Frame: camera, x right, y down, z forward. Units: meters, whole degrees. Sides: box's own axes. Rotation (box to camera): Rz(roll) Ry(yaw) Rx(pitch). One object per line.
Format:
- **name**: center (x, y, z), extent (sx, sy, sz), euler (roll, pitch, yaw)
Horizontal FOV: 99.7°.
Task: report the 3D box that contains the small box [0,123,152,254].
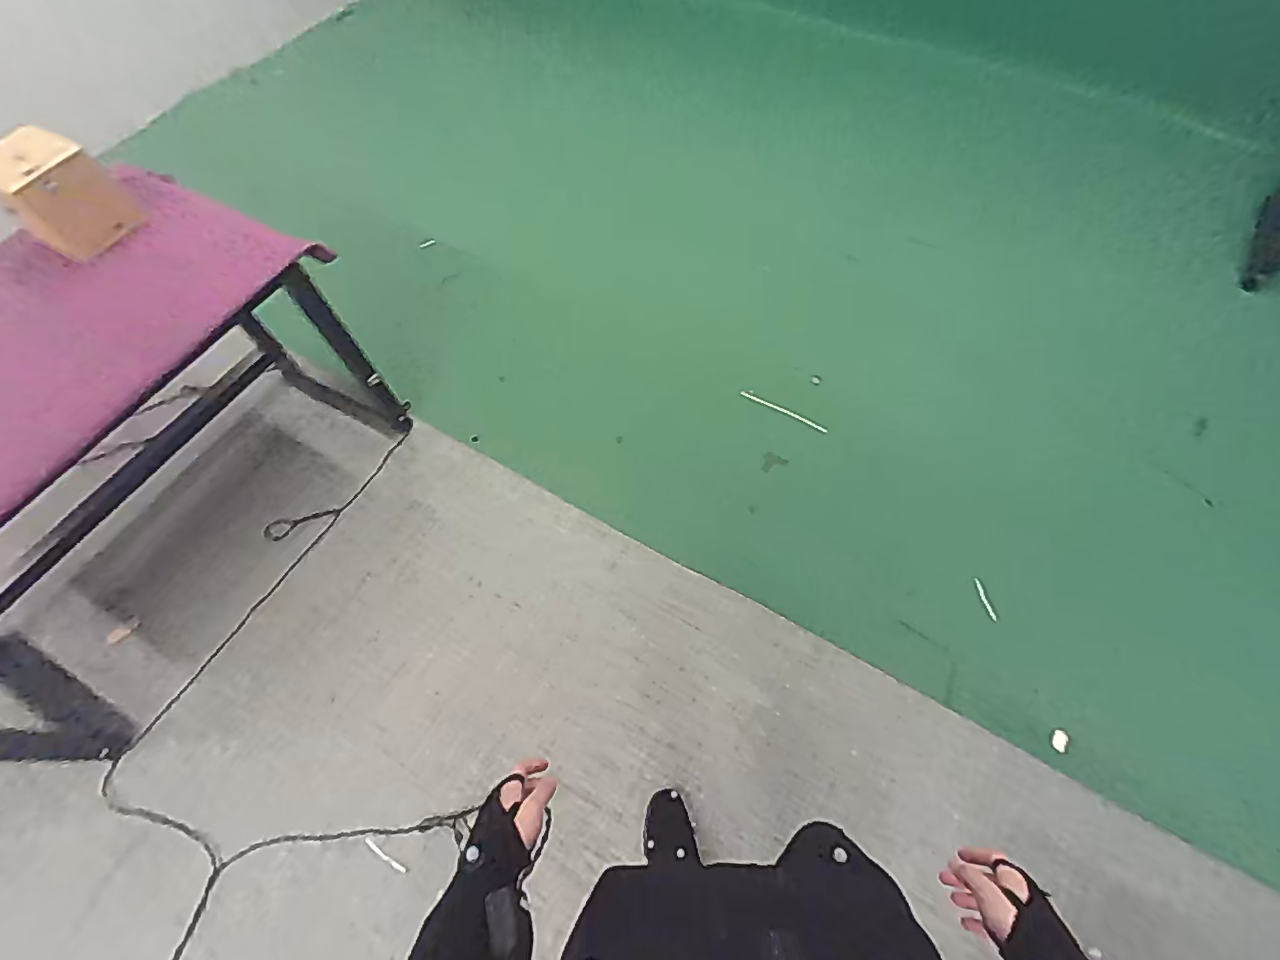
- **small box**: center (-1.232, -0.621, 1.163), extent (0.179, 0.176, 0.168), euler (25, 67, 13)
